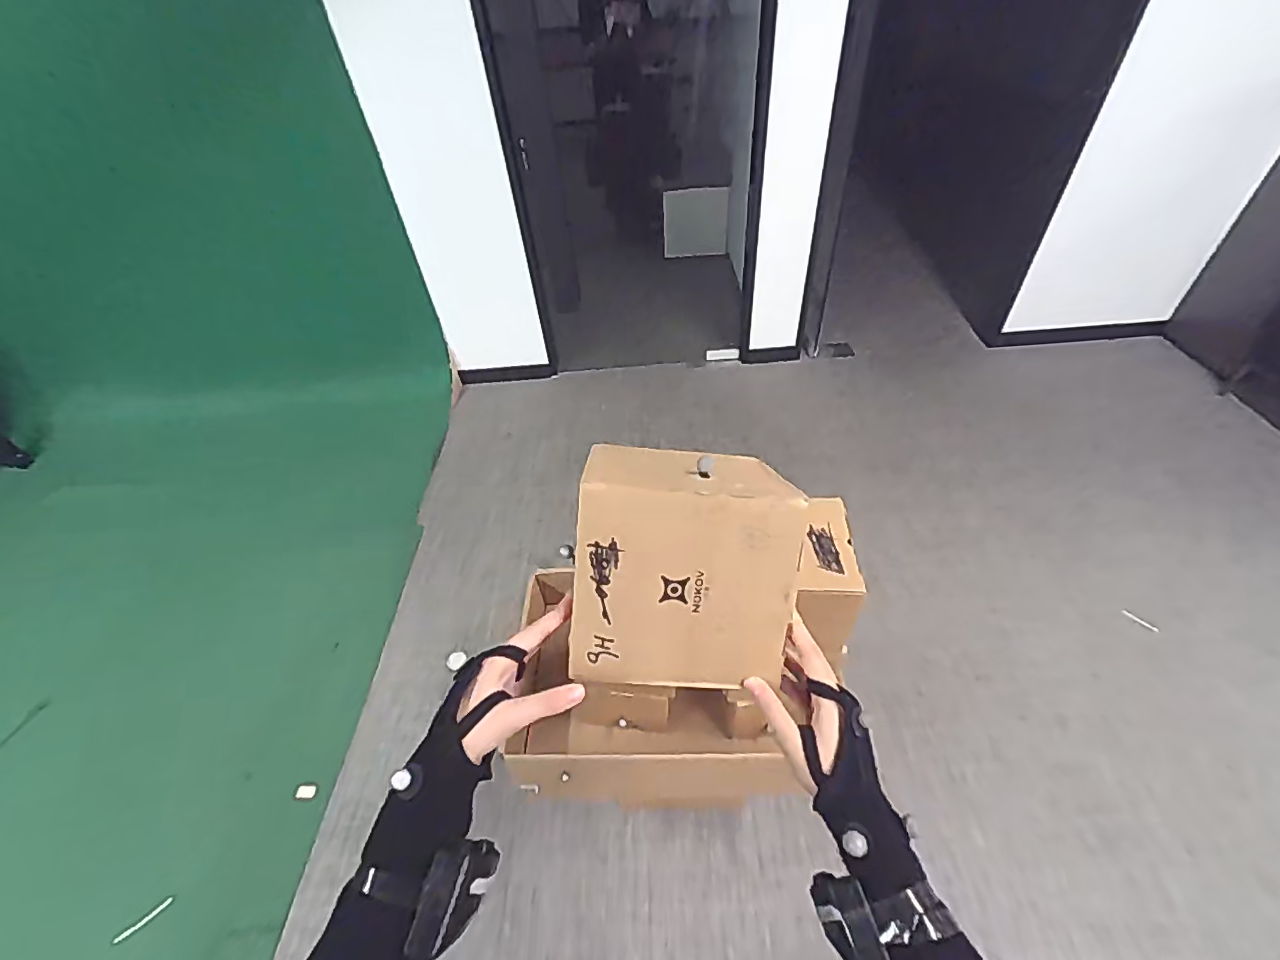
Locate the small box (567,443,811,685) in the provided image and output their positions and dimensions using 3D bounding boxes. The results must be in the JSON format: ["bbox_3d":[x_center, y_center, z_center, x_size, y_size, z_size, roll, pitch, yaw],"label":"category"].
[{"bbox_3d":[0.032,0.064,0.496,0.179,0.168,0.176,5,13,-4],"label":"small box"}]

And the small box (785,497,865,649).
[{"bbox_3d":[0.216,0.141,0.815,0.179,0.176,0.168,0,46,6],"label":"small box"}]

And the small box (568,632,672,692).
[{"bbox_3d":[-0.017,0.256,0.954,0.179,0.176,0.168,5,45,6],"label":"small box"}]
